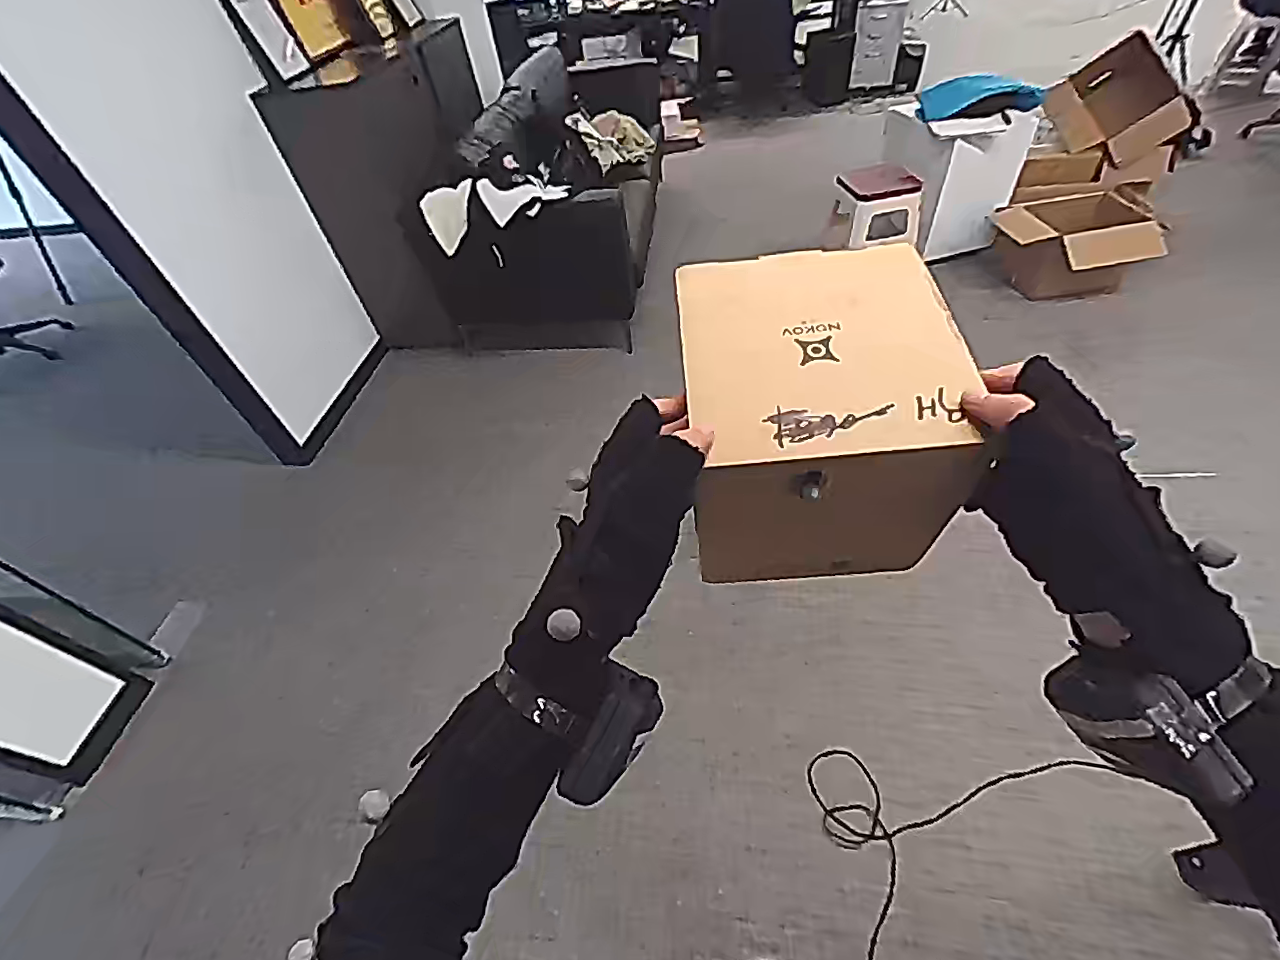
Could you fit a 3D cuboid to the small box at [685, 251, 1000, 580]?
[{"bbox_3d":[0.120,-0.041,0.407,0.168,0.176,0.179,-4,56,6],"label":"small box"}]
